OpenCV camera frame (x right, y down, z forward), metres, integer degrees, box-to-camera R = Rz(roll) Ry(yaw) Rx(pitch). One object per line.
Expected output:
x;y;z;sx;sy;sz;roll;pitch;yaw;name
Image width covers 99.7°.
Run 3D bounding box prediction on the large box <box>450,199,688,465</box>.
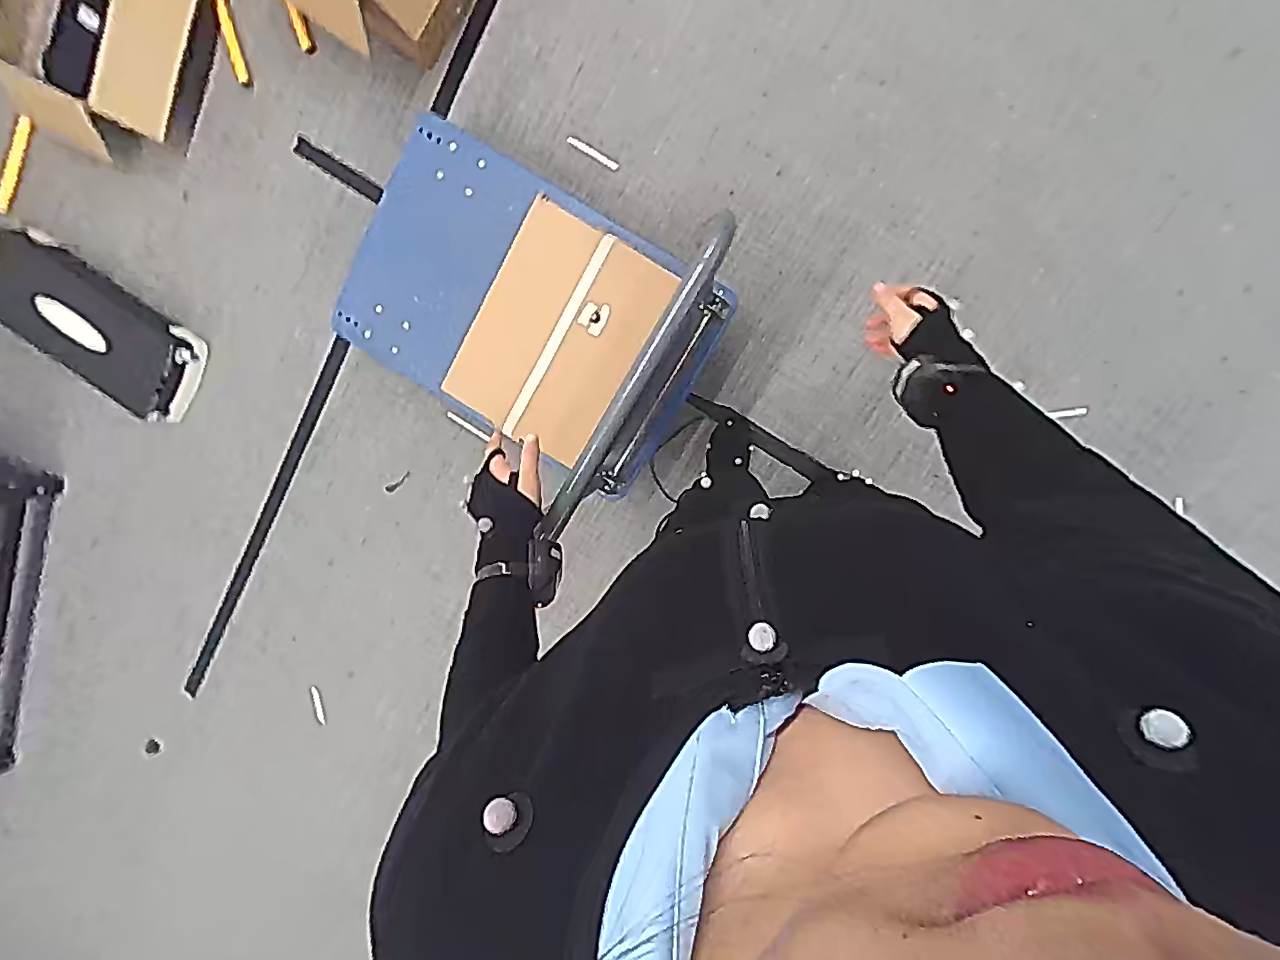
-0.130;-0.288;1.159;0.320;0.320;0.408;31;101;2;large box
